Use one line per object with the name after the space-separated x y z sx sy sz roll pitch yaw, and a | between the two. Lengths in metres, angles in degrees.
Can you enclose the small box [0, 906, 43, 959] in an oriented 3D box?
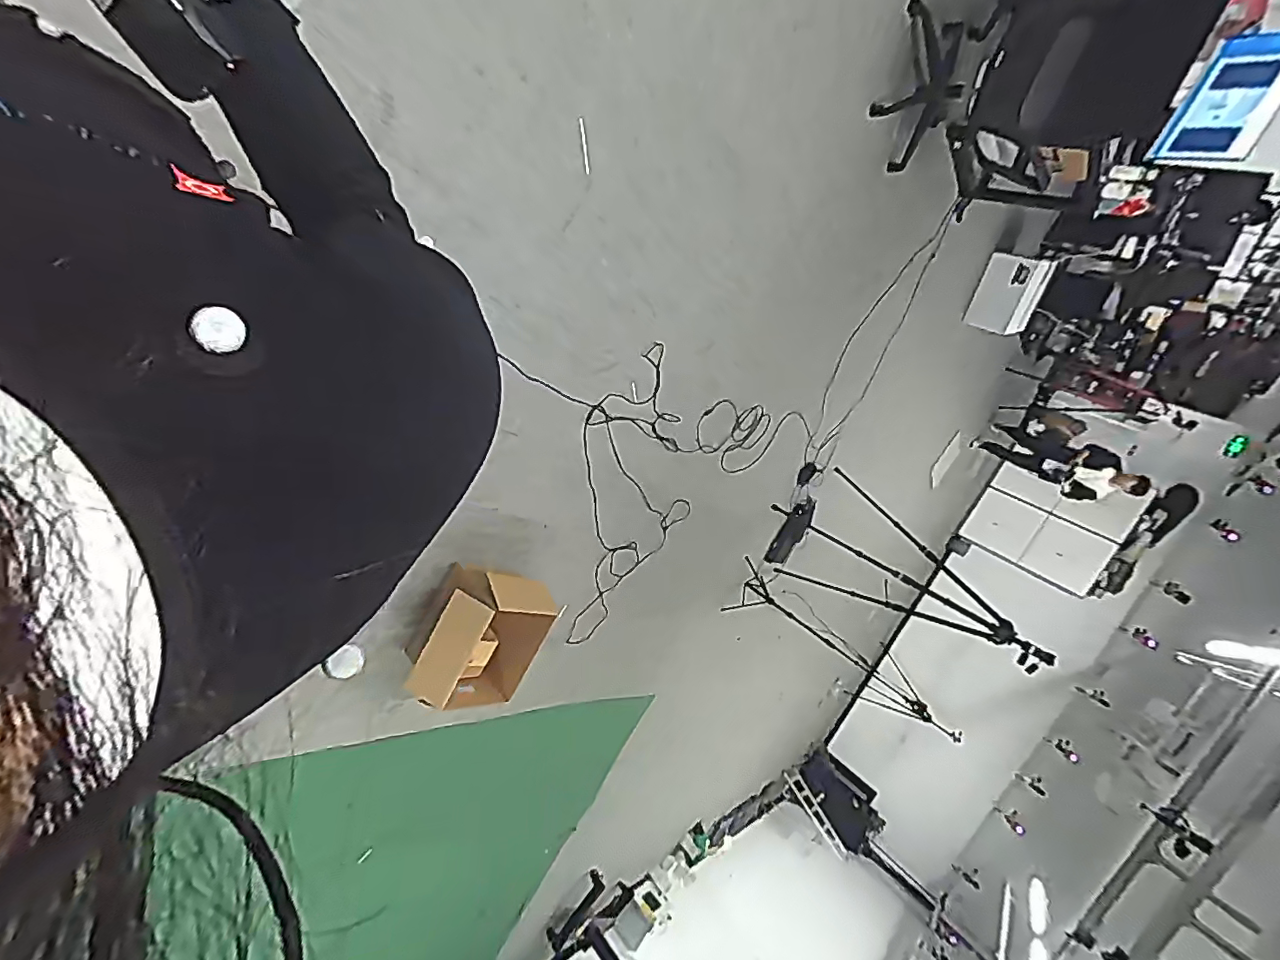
-1.704 1.275 1.404 0.179 0.176 0.168 15 105 -53 | small box
